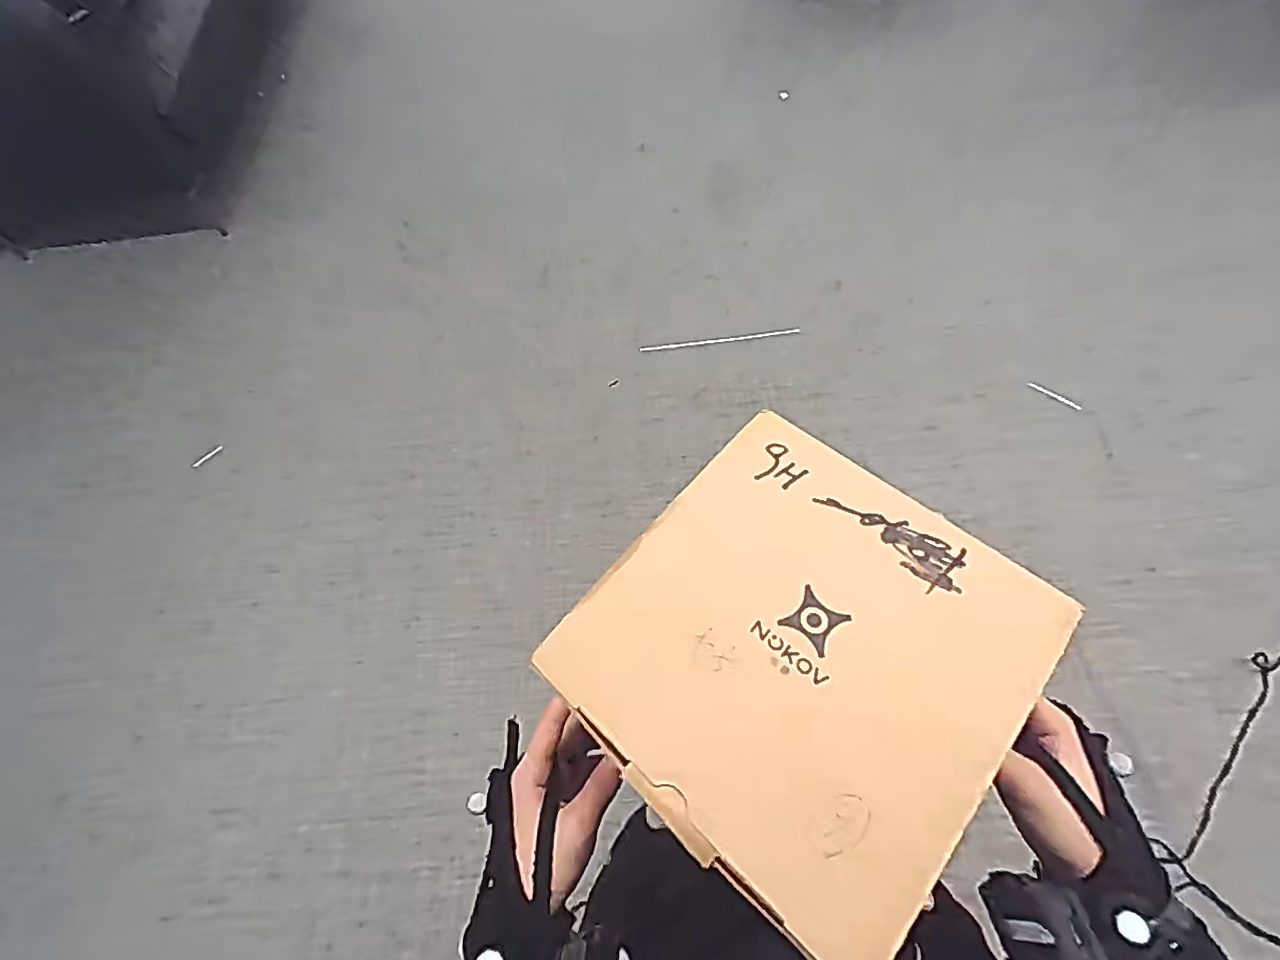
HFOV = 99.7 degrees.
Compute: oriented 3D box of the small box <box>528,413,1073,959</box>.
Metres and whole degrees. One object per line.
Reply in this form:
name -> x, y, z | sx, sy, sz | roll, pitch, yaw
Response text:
small box -> 0.074, 0.105, 0.301 | 0.168, 0.176, 0.179 | 38, 71, 23
